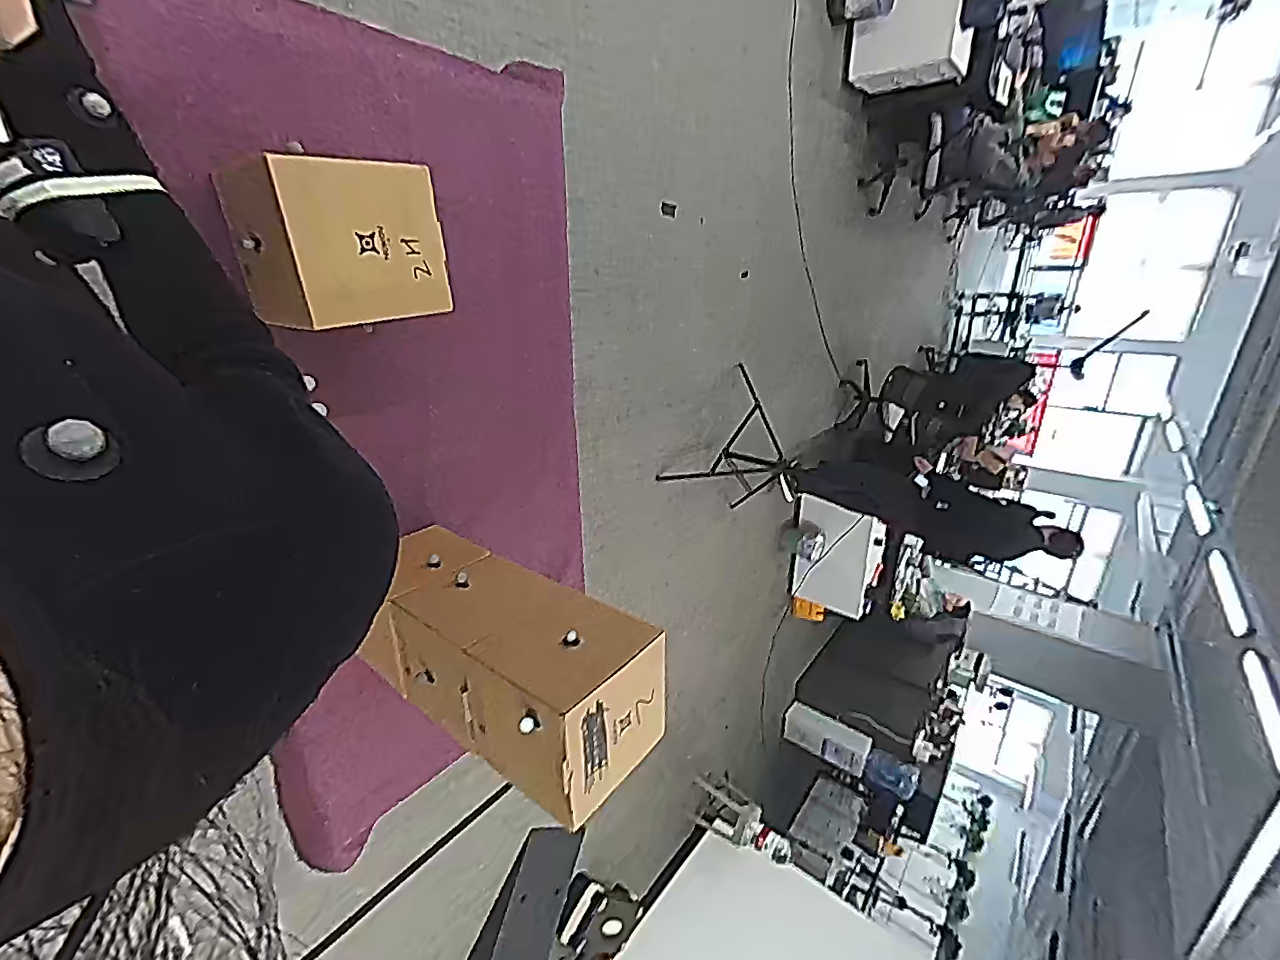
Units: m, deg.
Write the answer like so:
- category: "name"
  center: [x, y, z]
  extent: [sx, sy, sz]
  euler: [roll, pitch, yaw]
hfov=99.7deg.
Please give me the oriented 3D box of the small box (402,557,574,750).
- category: "small box"
  center: [-0.216, 0.230, 0.767]
  extent: [0.179, 0.176, 0.168]
  euler: [-23, 120, -47]

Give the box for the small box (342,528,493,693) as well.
- category: "small box"
  center: [-0.347, 0.195, 0.859]
  extent: [0.179, 0.176, 0.168]
  euler: [-24, 121, -47]

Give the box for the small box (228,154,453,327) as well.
- category: "small box"
  center: [-0.360, -0.282, 0.653]
  extent: [0.179, 0.176, 0.168]
  euler: [-29, 126, -45]
